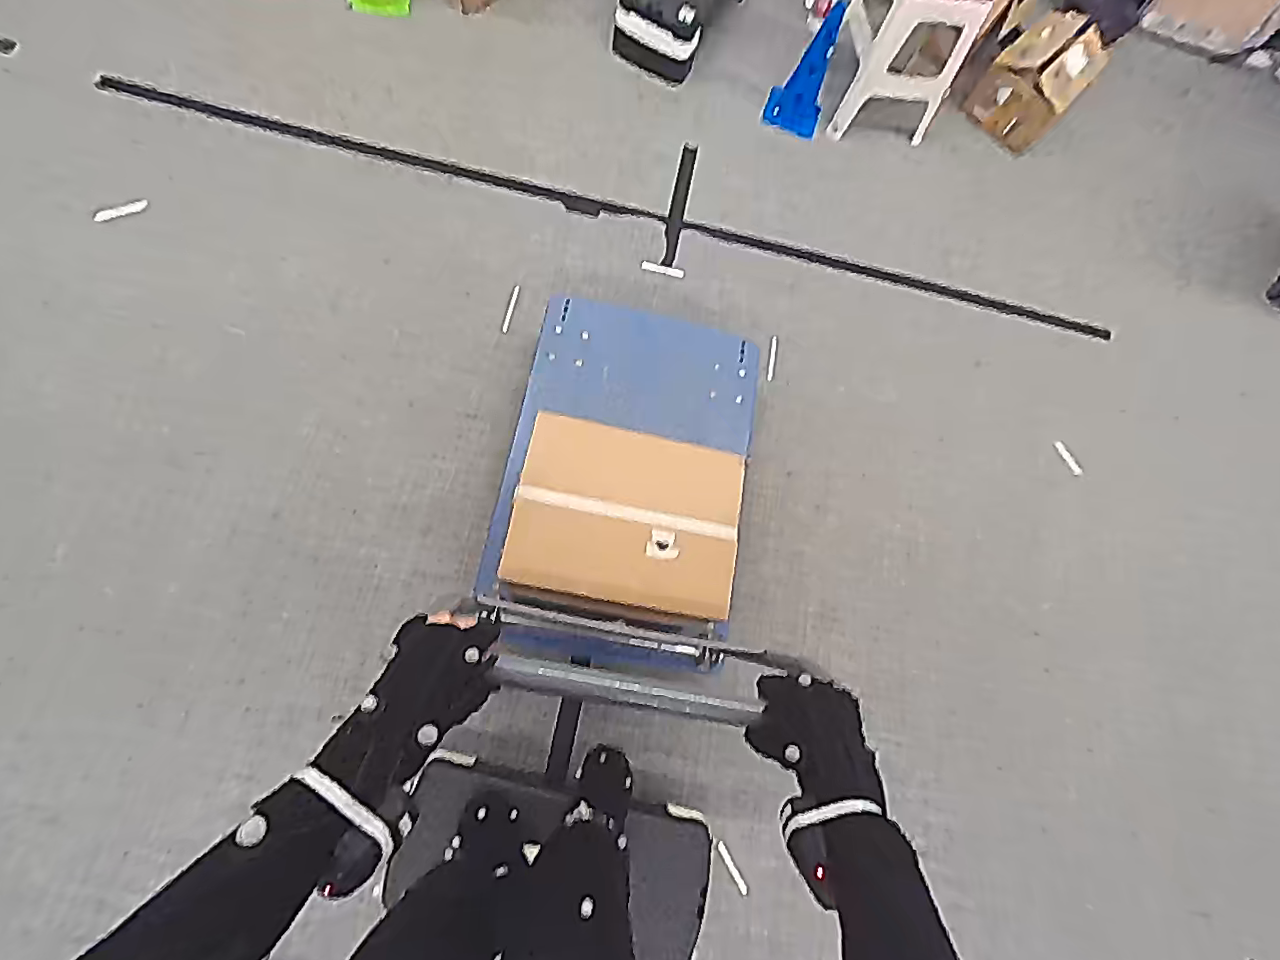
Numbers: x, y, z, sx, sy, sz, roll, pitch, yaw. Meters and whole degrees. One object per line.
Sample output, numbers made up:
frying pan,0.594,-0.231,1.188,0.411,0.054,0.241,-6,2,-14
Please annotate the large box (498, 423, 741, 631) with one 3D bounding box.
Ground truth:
large box,-0.049,0.117,1.102,0.408,0.320,0.320,12,72,-7
